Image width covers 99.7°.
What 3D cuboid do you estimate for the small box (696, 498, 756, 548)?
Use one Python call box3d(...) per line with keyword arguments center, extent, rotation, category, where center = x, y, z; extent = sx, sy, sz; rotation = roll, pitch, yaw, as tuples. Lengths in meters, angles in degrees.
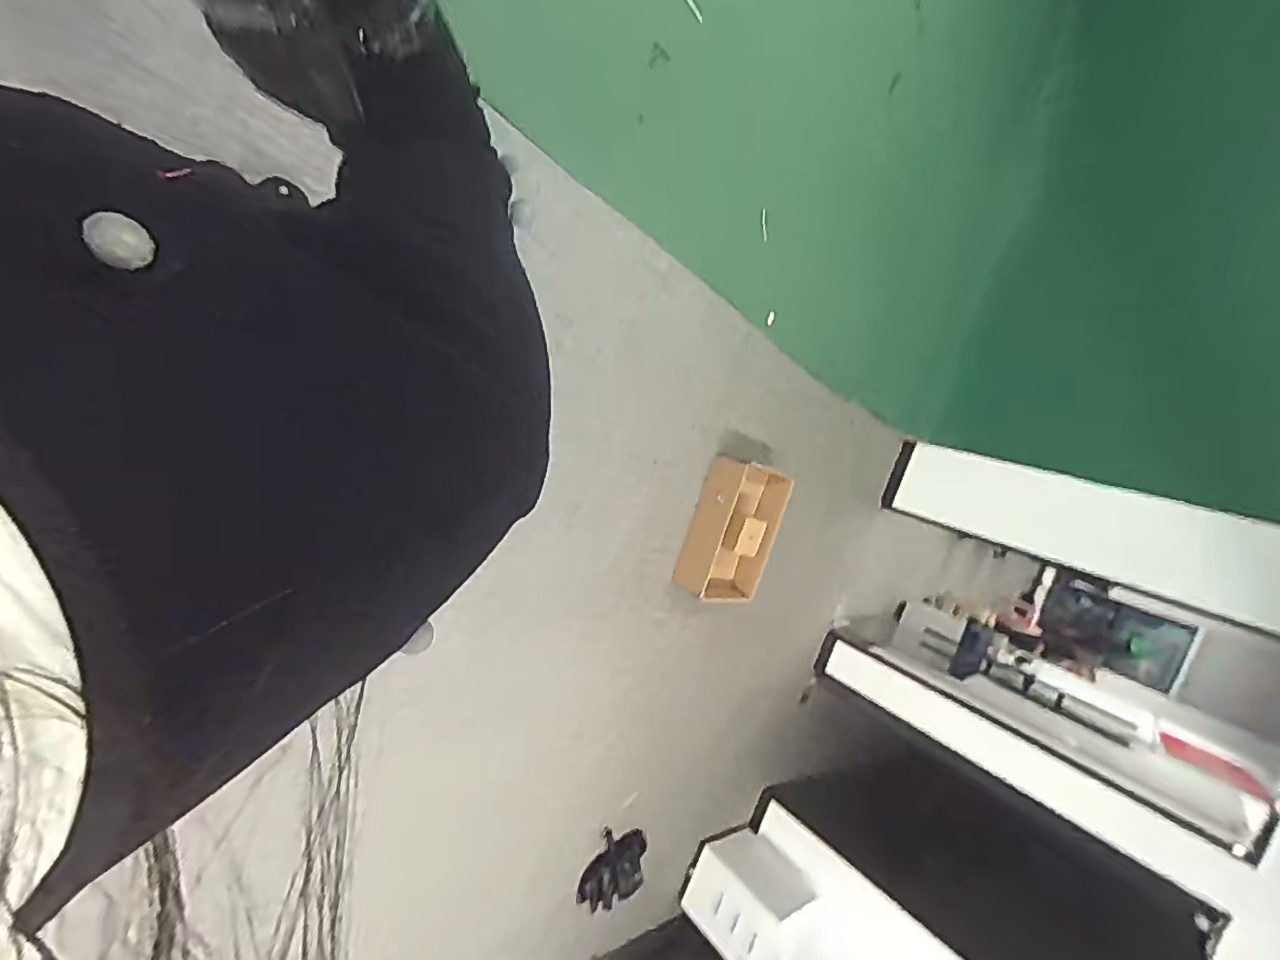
box3d(center=(0.378, 0.189, 2.396), extent=(0.179, 0.176, 0.168), rotation=(14, 98, -48), category="small box")
